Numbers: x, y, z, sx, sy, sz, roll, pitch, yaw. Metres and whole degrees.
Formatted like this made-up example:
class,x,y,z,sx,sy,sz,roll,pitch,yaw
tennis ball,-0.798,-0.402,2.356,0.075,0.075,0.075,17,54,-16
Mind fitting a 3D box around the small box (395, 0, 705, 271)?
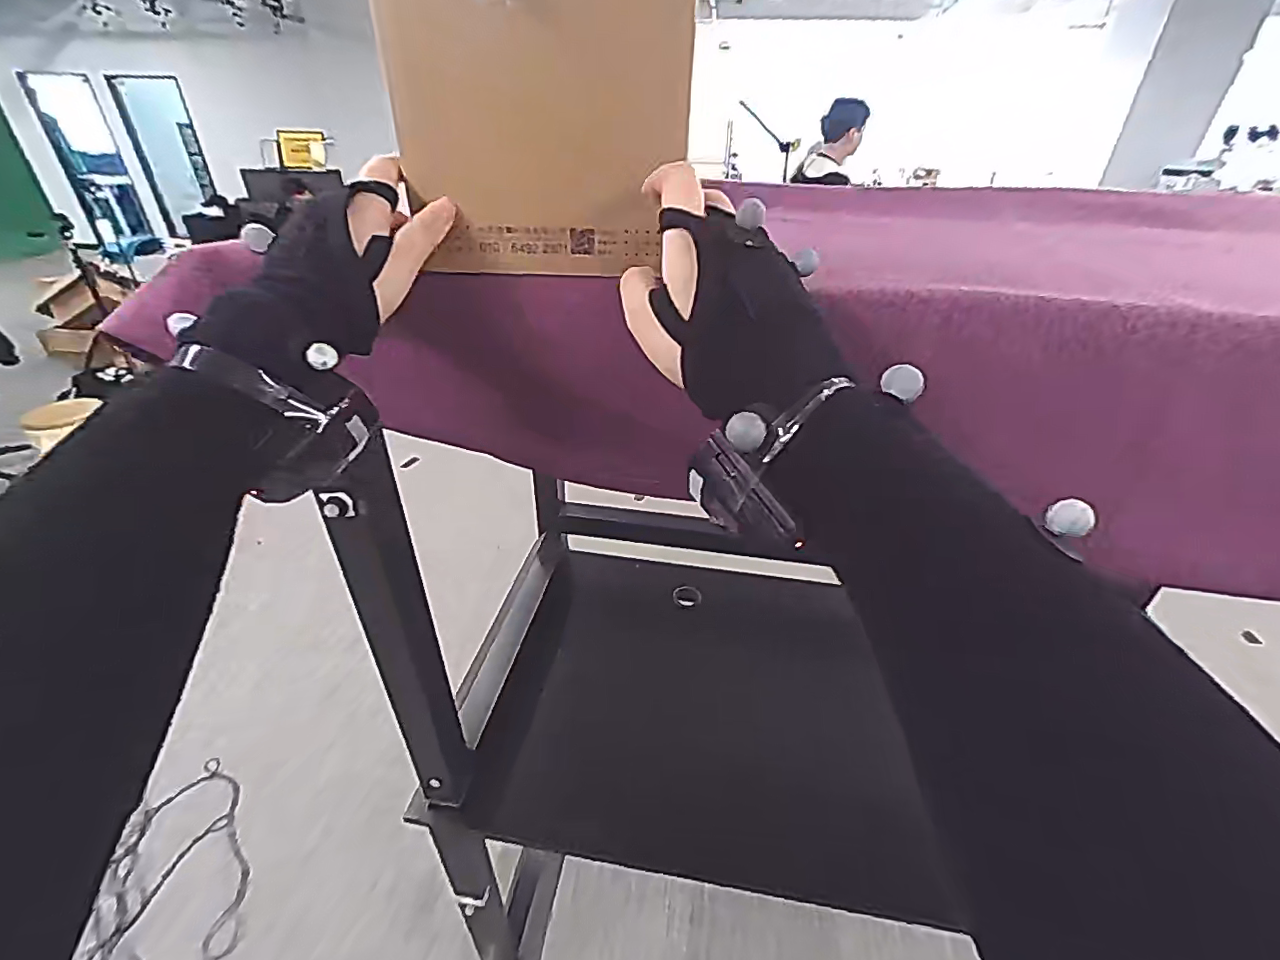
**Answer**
class,x,y,z,sx,sy,sz,roll,pitch,yaw
small box,-0.047,-0.247,0.363,0.168,0.176,0.179,2,32,2
